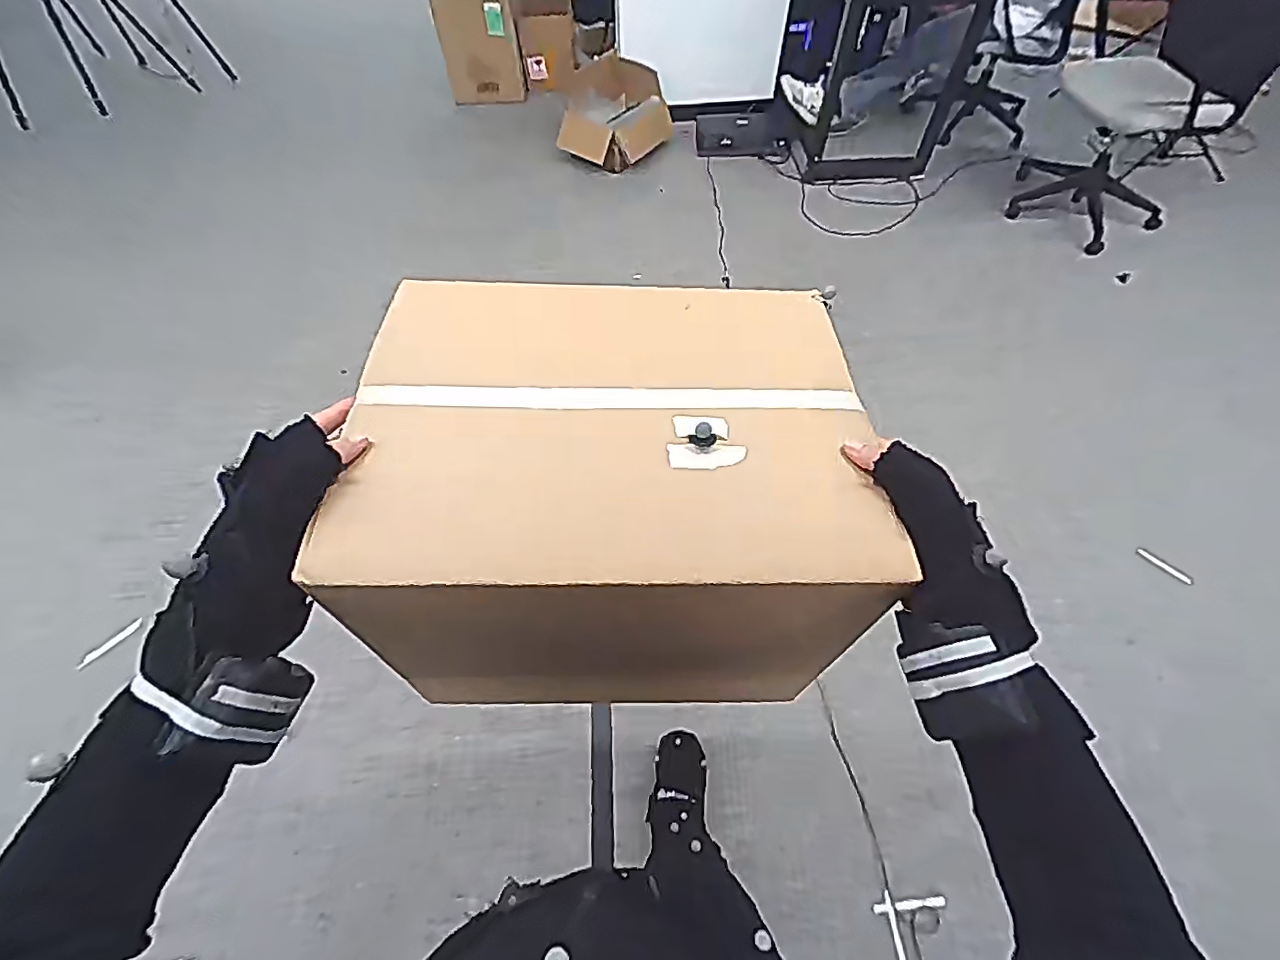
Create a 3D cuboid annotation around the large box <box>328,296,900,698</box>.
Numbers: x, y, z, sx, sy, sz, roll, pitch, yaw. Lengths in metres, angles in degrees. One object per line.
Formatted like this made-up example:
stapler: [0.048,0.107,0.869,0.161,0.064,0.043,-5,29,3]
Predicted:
large box: [-0.025,0.028,0.575,0.408,0.320,0.320,0,54,-3]
